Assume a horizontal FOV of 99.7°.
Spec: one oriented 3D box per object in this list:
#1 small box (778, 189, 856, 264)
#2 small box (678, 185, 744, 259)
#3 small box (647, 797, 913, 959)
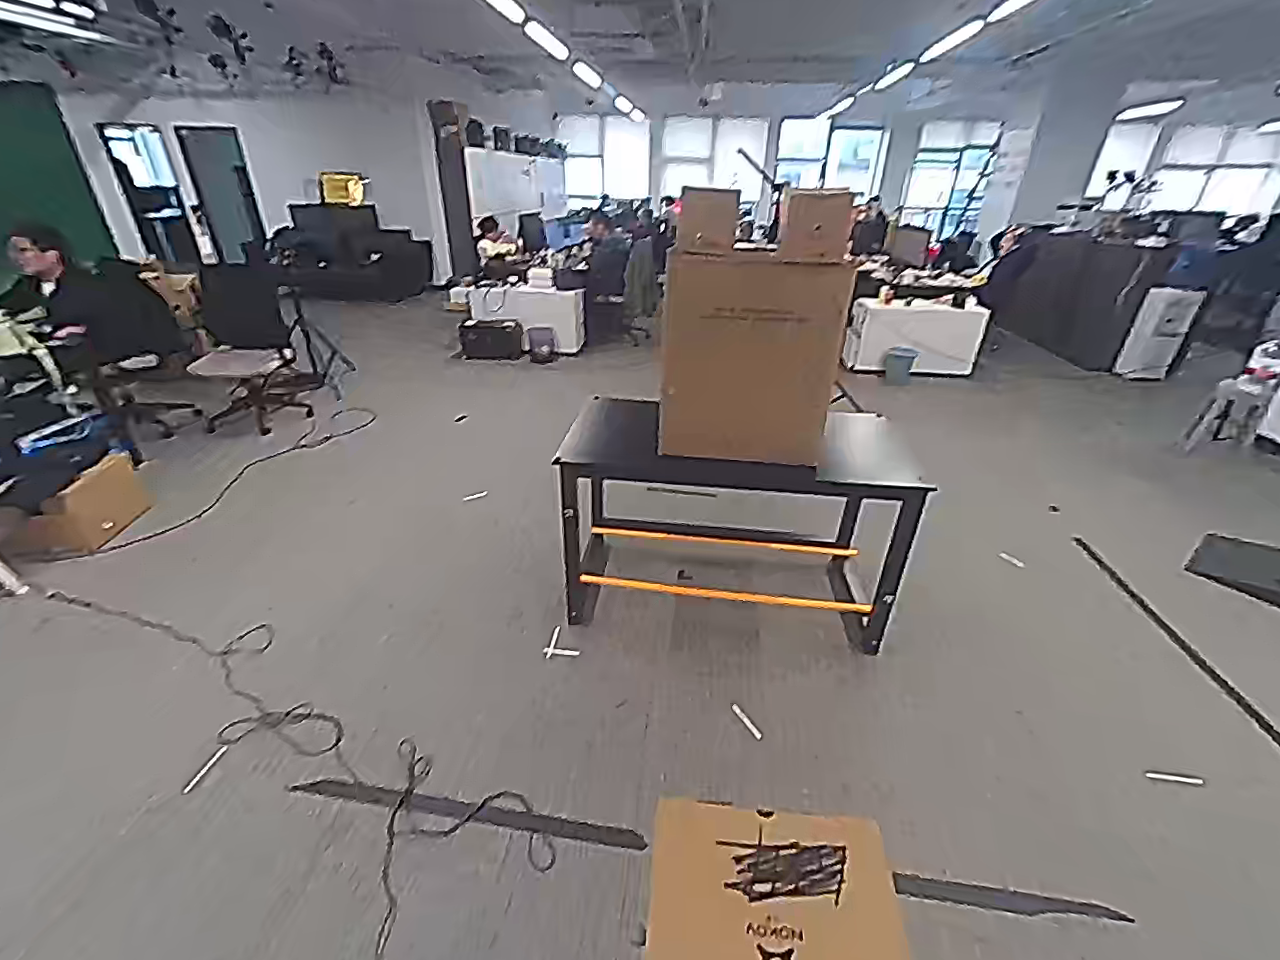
[{"bbox_3d":[0.474,-0.690,1.471,0.168,0.176,0.179,4,32,7],"label":"small box"},{"bbox_3d":[0.200,-0.738,1.542,0.168,0.176,0.179,6,31,5],"label":"small box"},{"bbox_3d":[0.086,0.362,0.379,0.168,0.176,0.179,3,32,5],"label":"small box"}]
